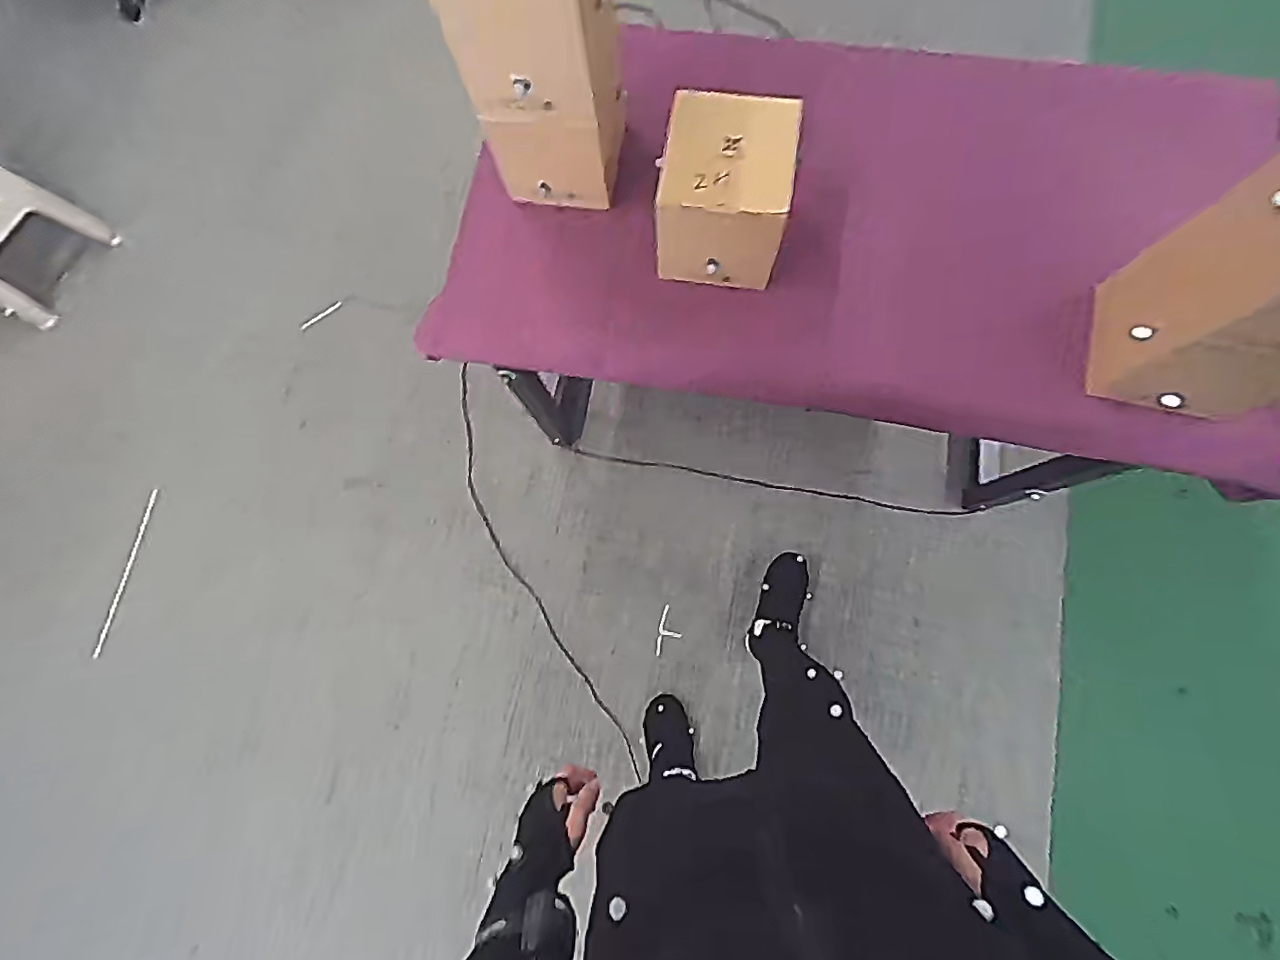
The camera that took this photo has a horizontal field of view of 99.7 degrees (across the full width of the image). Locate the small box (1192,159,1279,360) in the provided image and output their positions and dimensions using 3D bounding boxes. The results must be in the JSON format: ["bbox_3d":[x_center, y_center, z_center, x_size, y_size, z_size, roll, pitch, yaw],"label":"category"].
[{"bbox_3d":[0.704,-0.233,0.529,0.168,0.176,0.179,14,78,8],"label":"small box"}]

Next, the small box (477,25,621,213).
[{"bbox_3d":[-0.124,-0.540,0.813,0.168,0.176,0.179,7,79,5],"label":"small box"}]

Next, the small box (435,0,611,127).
[{"bbox_3d":[-0.132,-0.574,0.654,0.168,0.176,0.179,7,79,6],"label":"small box"}]

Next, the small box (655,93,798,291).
[{"bbox_3d":[0.116,-0.399,0.769,0.168,0.176,0.179,9,79,6],"label":"small box"}]
